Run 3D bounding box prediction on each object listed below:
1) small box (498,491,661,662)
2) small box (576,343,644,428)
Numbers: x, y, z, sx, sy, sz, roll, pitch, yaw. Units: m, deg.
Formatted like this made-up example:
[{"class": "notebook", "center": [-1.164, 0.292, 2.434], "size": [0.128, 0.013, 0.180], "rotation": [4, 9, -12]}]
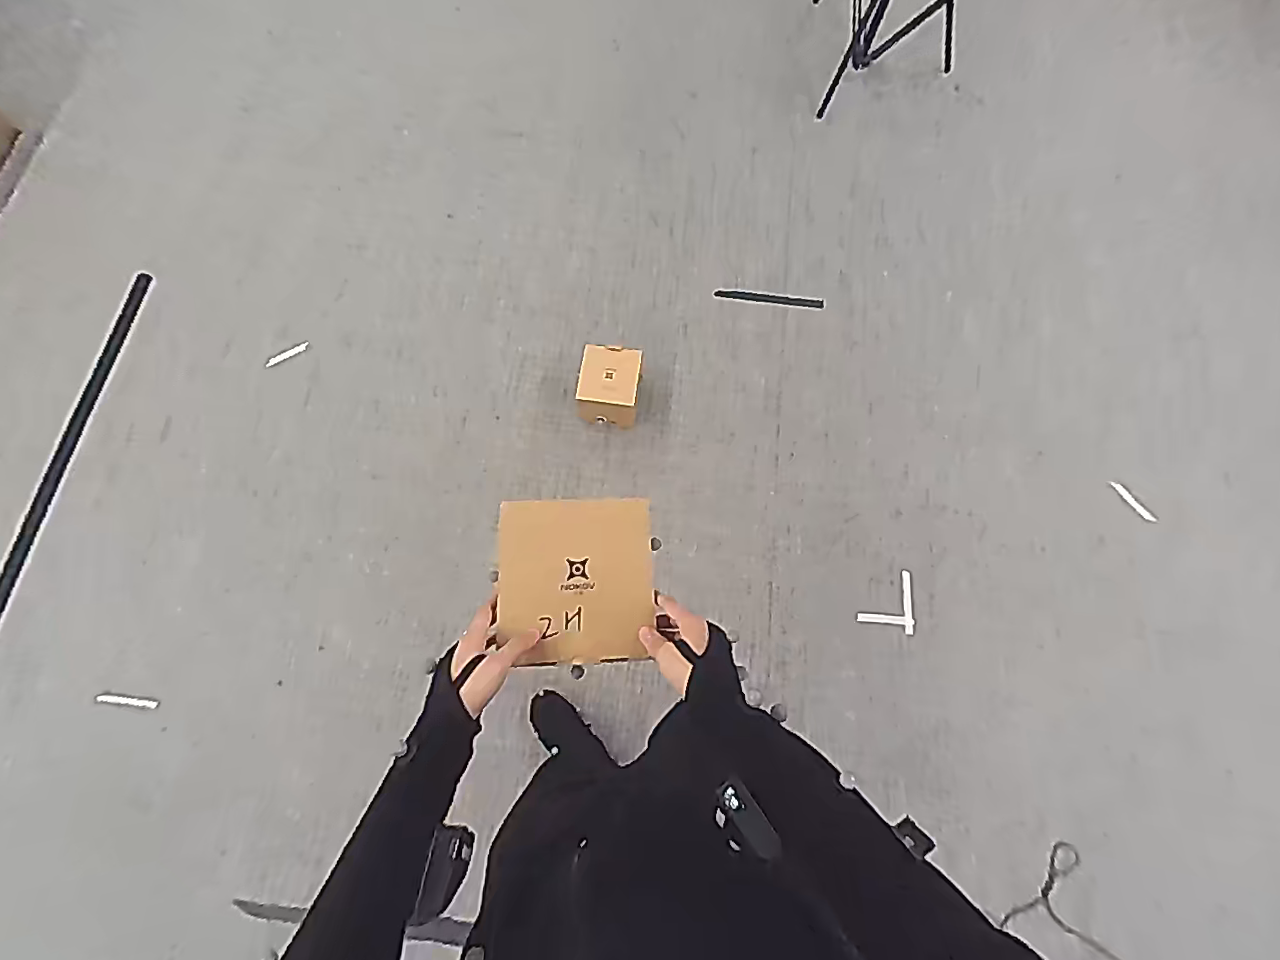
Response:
[{"class": "small box", "center": [-0.071, 0.120, 0.638], "size": [0.168, 0.176, 0.179], "rotation": [0, 73, -7]}, {"class": "small box", "center": [-0.084, -0.271, 1.569], "size": [0.168, 0.176, 0.179], "rotation": [8, 74, 2]}]
